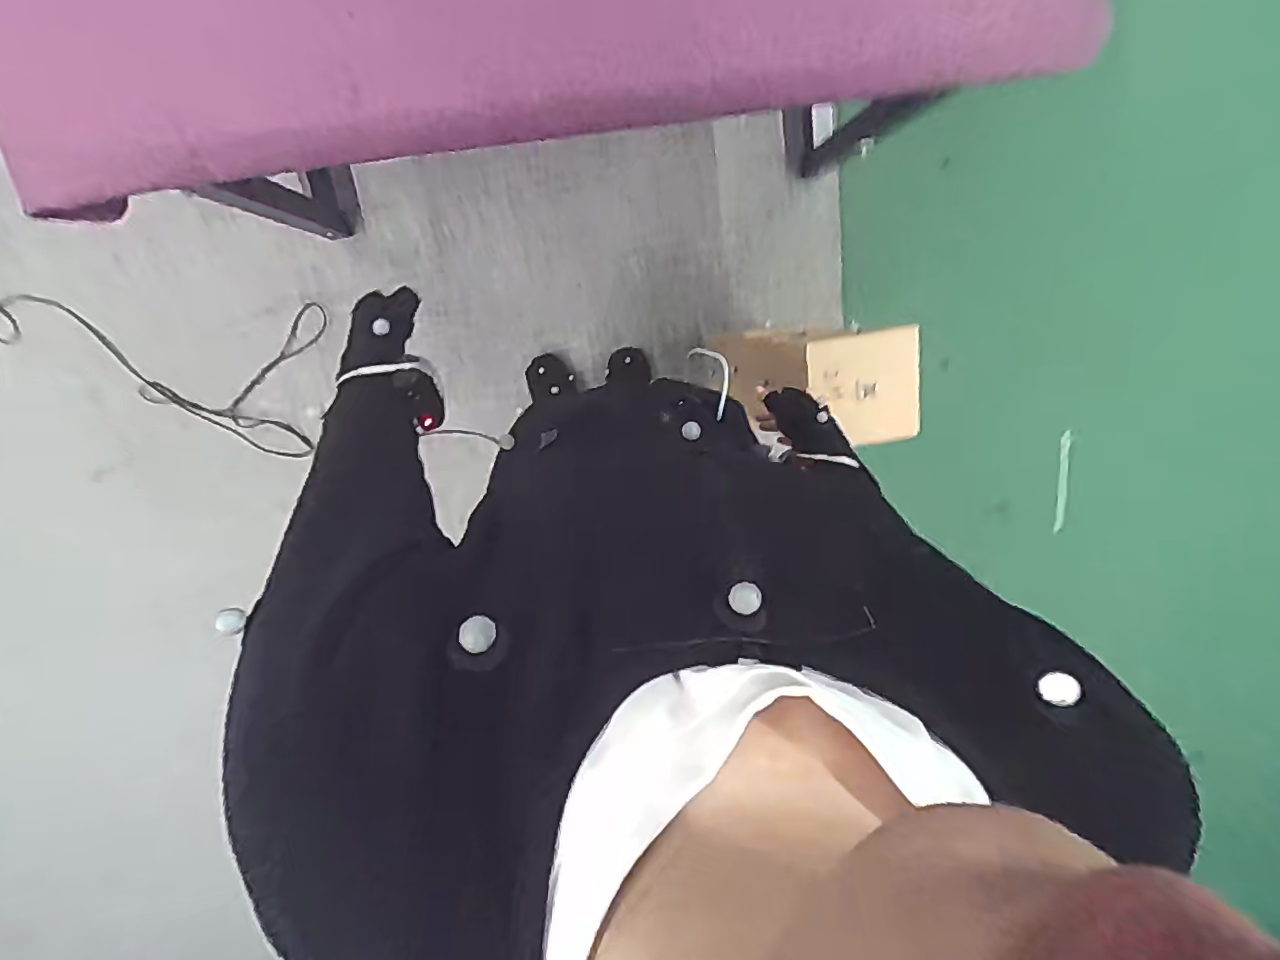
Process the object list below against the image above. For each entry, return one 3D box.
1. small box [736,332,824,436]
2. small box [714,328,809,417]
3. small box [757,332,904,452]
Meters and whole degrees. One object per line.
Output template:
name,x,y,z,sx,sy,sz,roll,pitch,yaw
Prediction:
small box,0.290,-0.194,1.060,0.168,0.176,0.179,-7,106,-5
small box,0.267,-0.245,1.212,0.168,0.176,0.179,-6,106,-6
small box,0.310,-0.154,0.901,0.179,0.176,0.168,-9,106,-4
